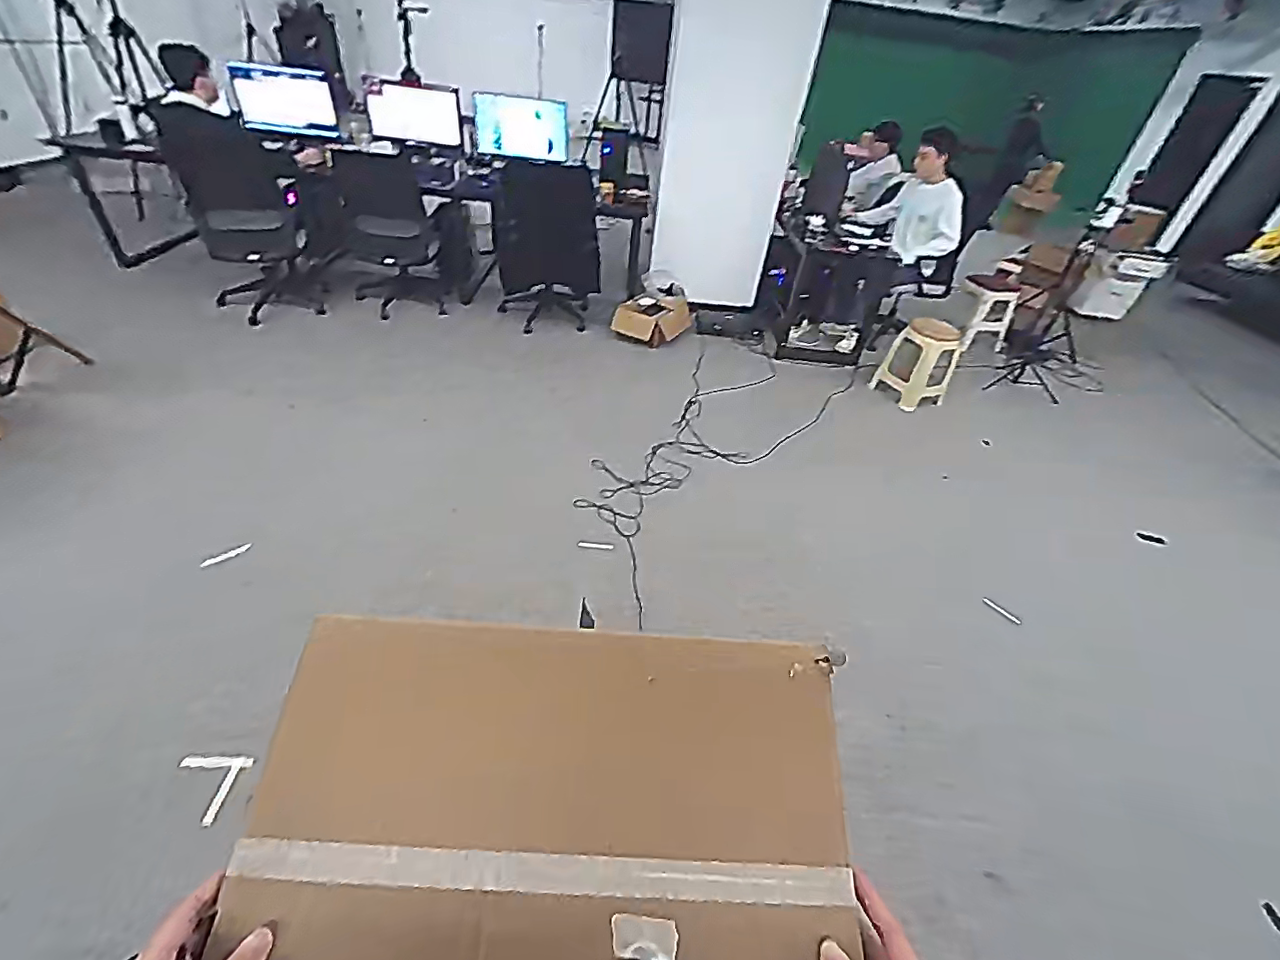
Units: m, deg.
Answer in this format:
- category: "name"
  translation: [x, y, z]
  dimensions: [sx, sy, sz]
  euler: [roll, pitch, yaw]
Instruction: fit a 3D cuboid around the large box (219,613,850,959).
- category: "large box"
  translation: [-0.067, 0.323, 0.498]
  dimensions: [0.408, 0.320, 0.320]
  euler: [4, 63, -1]
